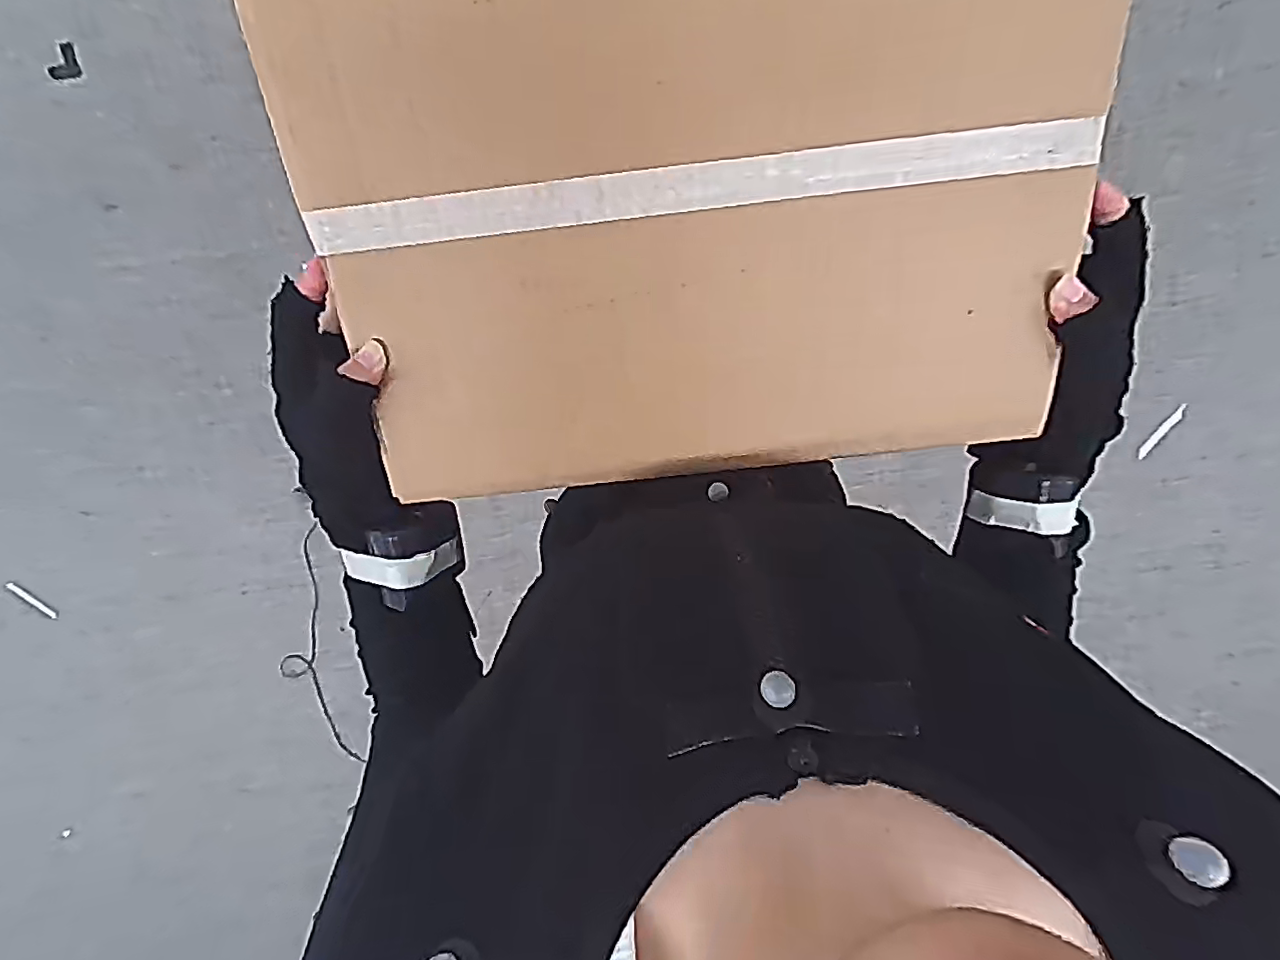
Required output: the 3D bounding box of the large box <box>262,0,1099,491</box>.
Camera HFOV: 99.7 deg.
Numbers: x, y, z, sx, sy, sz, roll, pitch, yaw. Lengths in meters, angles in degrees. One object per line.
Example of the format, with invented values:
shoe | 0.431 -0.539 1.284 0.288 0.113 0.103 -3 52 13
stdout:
large box | 0.024 -0.211 0.426 0.408 0.320 0.320 -6 114 0
